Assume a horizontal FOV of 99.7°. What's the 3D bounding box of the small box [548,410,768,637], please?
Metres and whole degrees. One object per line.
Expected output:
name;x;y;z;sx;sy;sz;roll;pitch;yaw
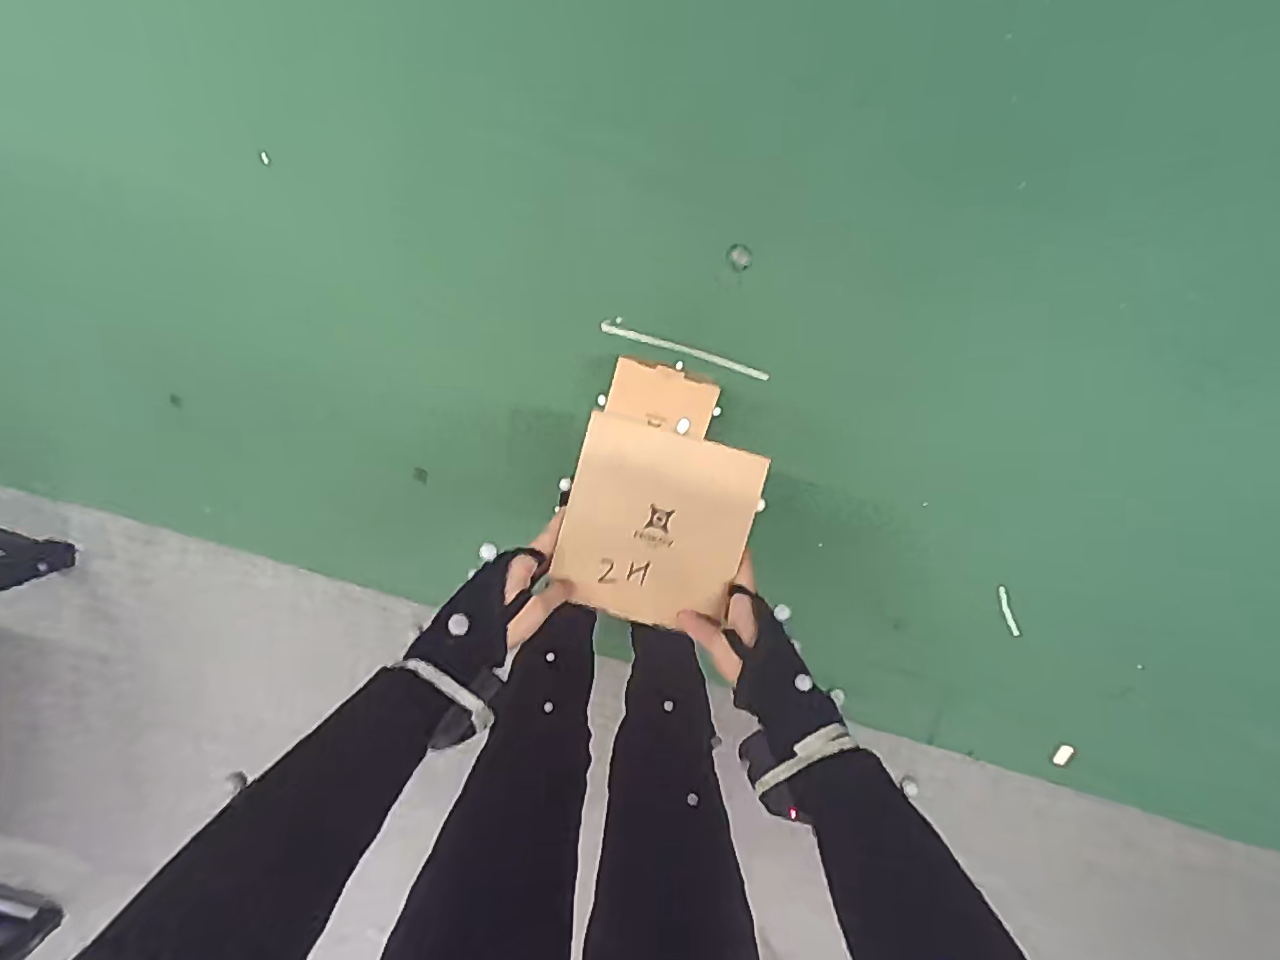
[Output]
small box;0.013;0.034;0.574;0.168;0.176;0.179;17;95;-3

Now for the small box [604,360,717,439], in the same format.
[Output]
small box;0.024;-0.099;0.932;0.168;0.176;0.179;17;104;-1
